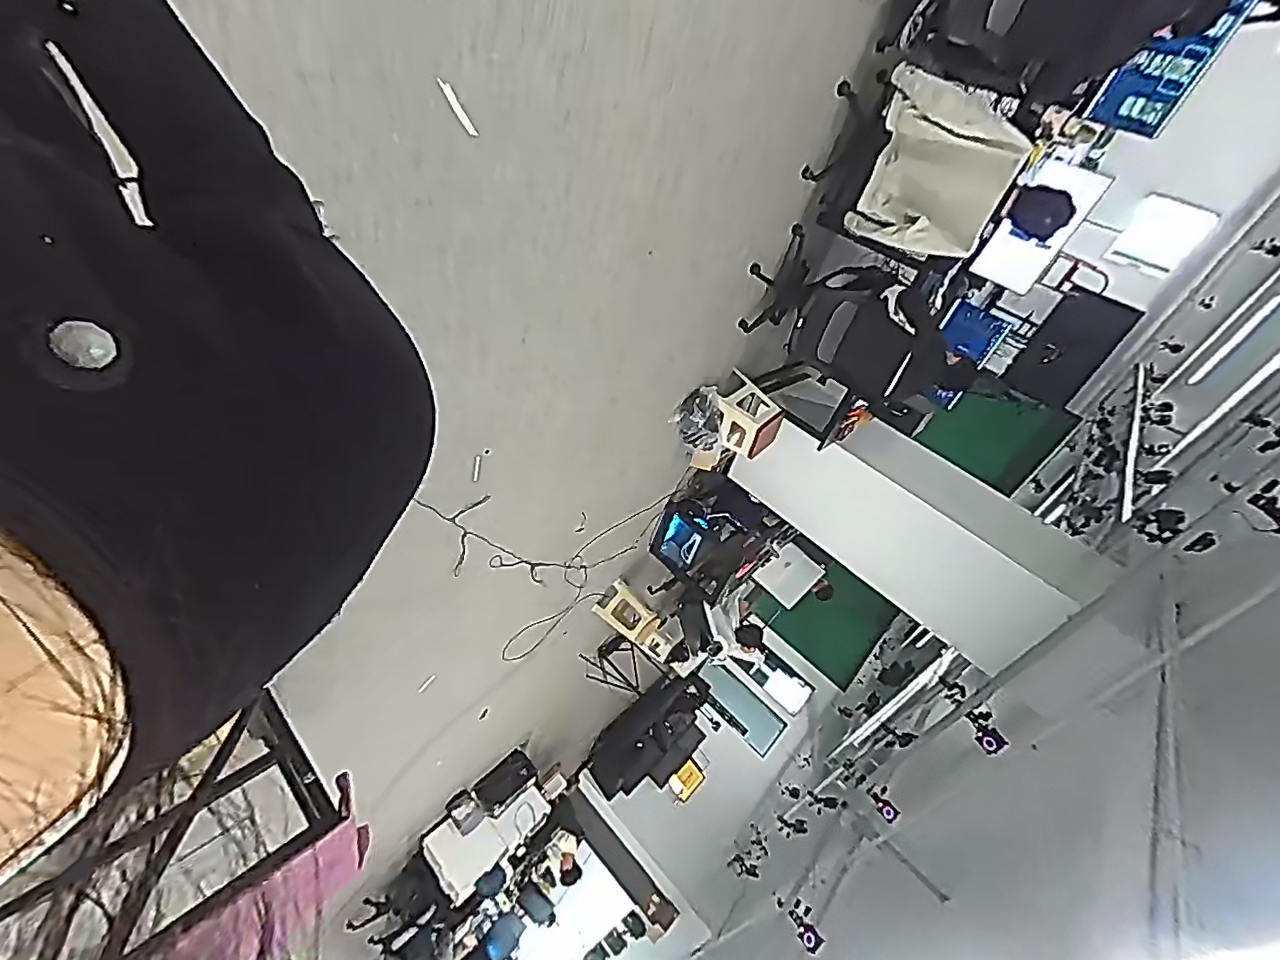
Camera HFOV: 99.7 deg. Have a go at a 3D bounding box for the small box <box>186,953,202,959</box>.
[{"bbox_3d":[-1.312,1.491,1.522,0.168,0.176,0.179,-24,147,-44],"label":"small box"}]

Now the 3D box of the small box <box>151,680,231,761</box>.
[{"bbox_3d":[-1.585,0.839,1.908,0.168,0.176,0.179,-25,147,-45],"label":"small box"}]
